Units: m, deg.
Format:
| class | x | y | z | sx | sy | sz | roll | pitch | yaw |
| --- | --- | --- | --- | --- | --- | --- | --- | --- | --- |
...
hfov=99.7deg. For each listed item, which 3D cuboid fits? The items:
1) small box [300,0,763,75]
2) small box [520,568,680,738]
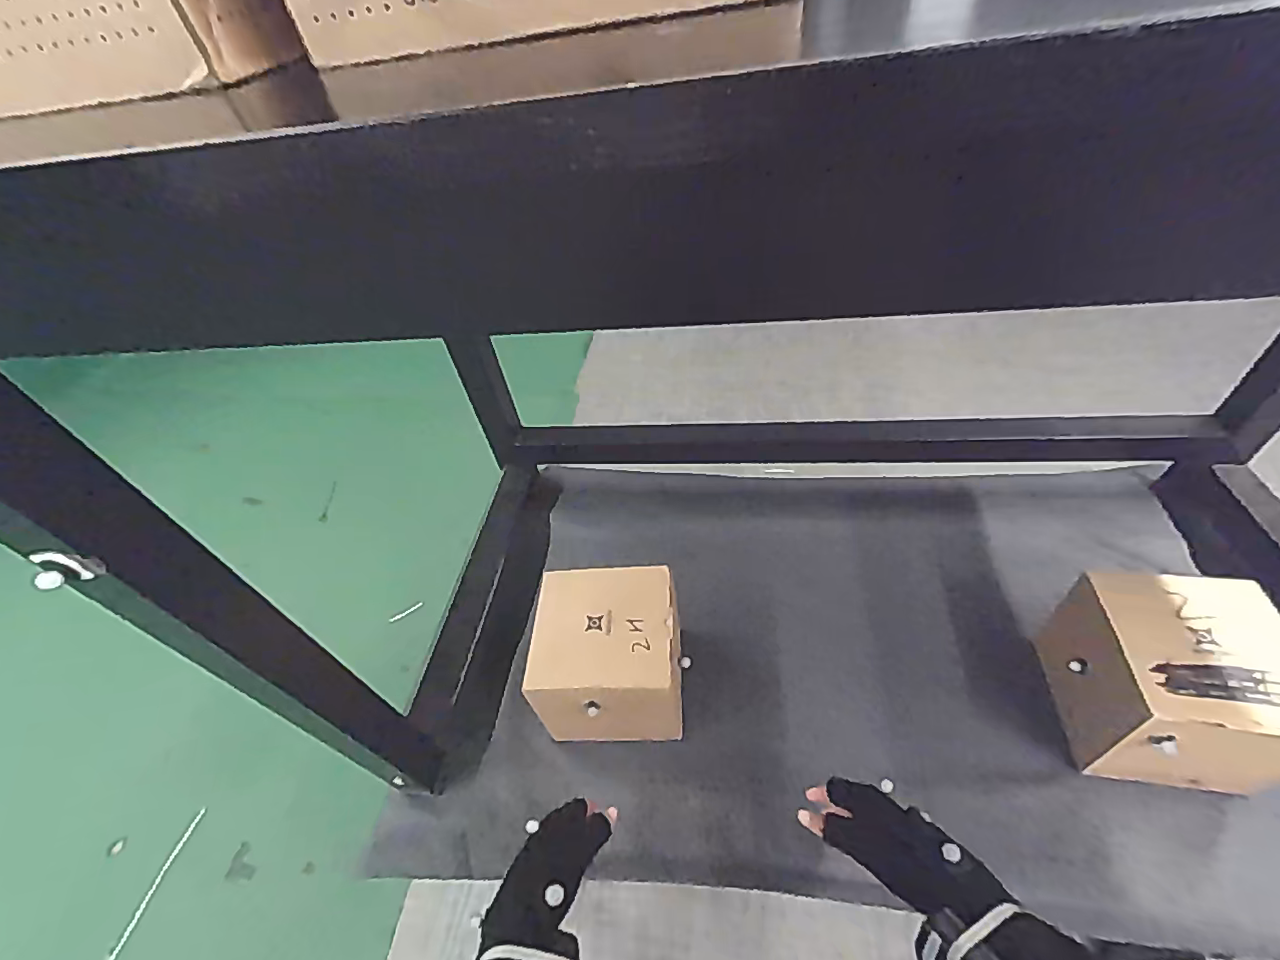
| class | x | y | z | sx | sy | sz | roll | pitch | yaw |
| --- | --- | --- | --- | --- | --- | --- | --- | --- | --- |
| small box | -0.038 | -0.256 | 0.181 | 0.168 | 0.176 | 0.179 | -1 | 46 | 9 |
| small box | -0.041 | 0.235 | 0.728 | 0.179 | 0.176 | 0.168 | -3 | 46 | 7 |
